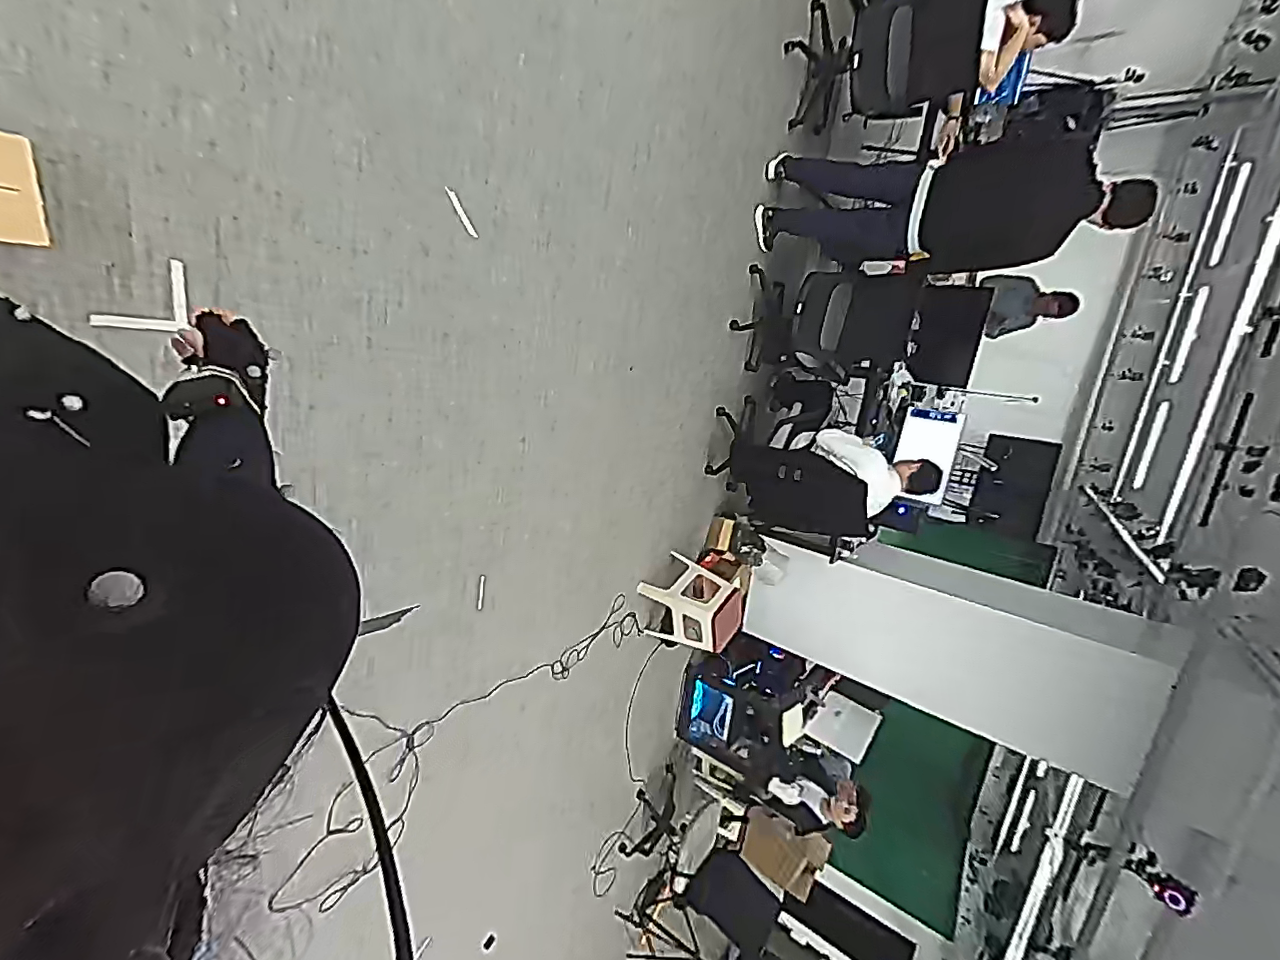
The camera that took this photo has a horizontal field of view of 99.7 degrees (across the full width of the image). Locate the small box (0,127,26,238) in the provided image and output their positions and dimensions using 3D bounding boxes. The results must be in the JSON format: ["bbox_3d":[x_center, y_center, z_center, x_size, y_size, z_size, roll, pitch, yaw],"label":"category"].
[{"bbox_3d":[-1.114,-0.478,0.841,0.179,0.176,0.168,-16,117,-54],"label":"small box"}]
